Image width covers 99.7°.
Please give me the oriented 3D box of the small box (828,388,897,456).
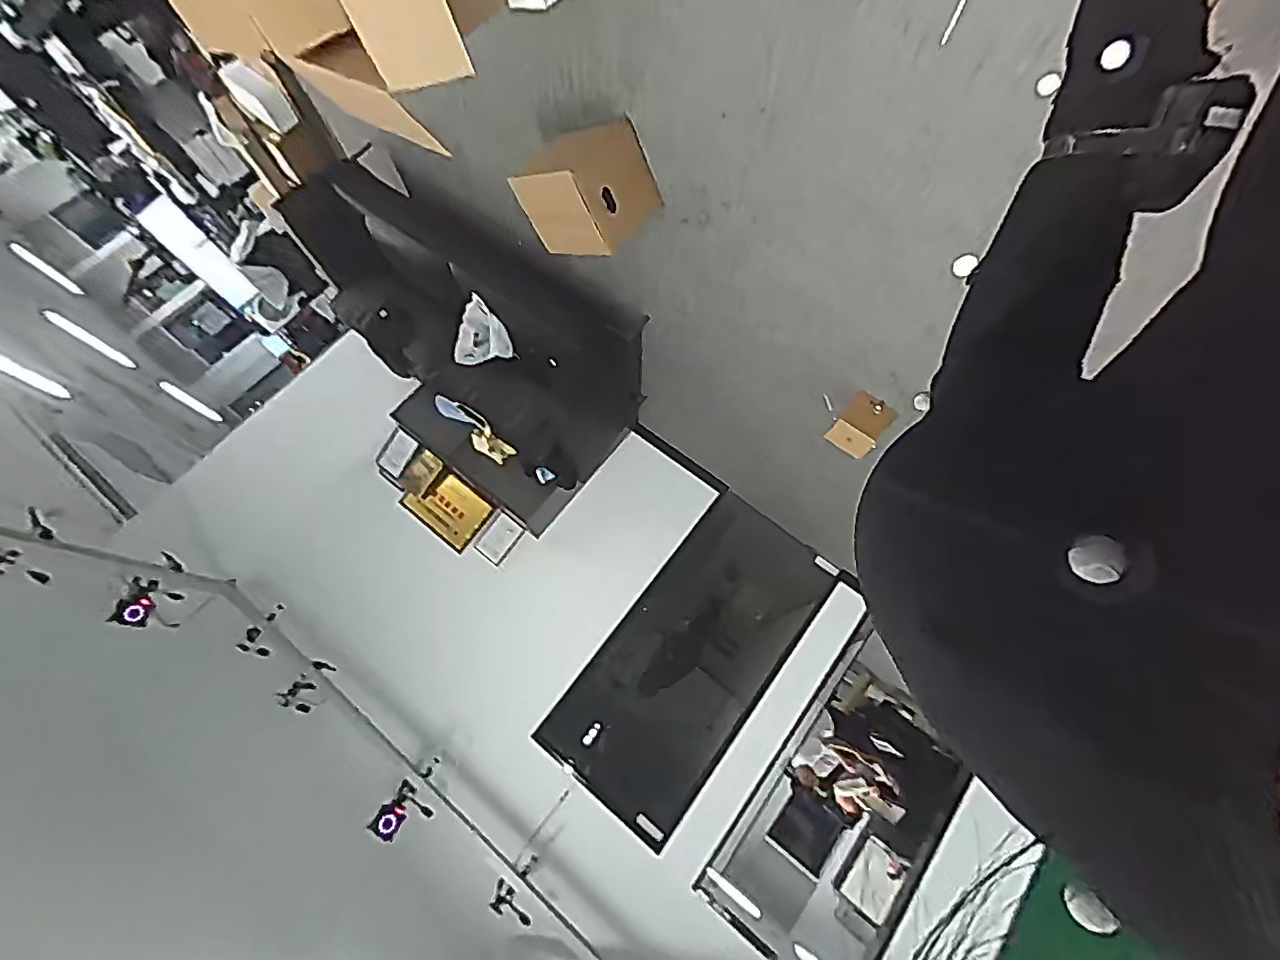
[{"bbox_3d":[0.888,-0.232,2.153,0.168,0.176,0.179,35,163,12],"label":"small box"}]
